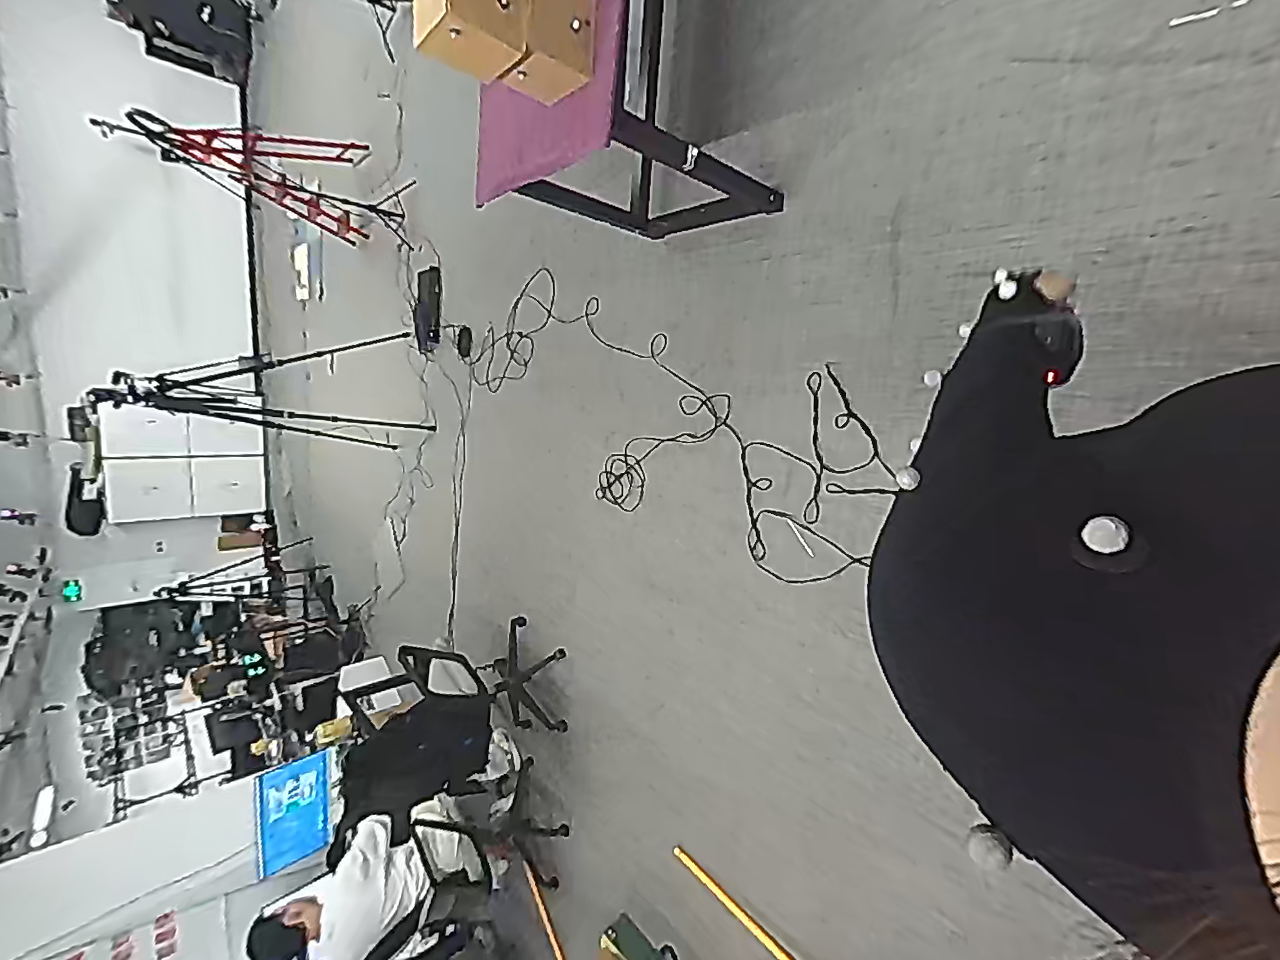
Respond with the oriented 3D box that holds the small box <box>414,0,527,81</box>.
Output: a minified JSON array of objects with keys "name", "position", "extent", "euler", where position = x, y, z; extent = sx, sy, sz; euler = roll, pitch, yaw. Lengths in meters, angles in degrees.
[{"name":"small box","position":[-0.344,-0.961,1.101],"extent":[0.179,0.176,0.168],"euler":[13,103,47]}]

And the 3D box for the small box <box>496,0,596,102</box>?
[{"name":"small box","position":[-0.219,-0.983,1.202],"extent":[0.179,0.176,0.168],"euler":[13,103,47]}]
